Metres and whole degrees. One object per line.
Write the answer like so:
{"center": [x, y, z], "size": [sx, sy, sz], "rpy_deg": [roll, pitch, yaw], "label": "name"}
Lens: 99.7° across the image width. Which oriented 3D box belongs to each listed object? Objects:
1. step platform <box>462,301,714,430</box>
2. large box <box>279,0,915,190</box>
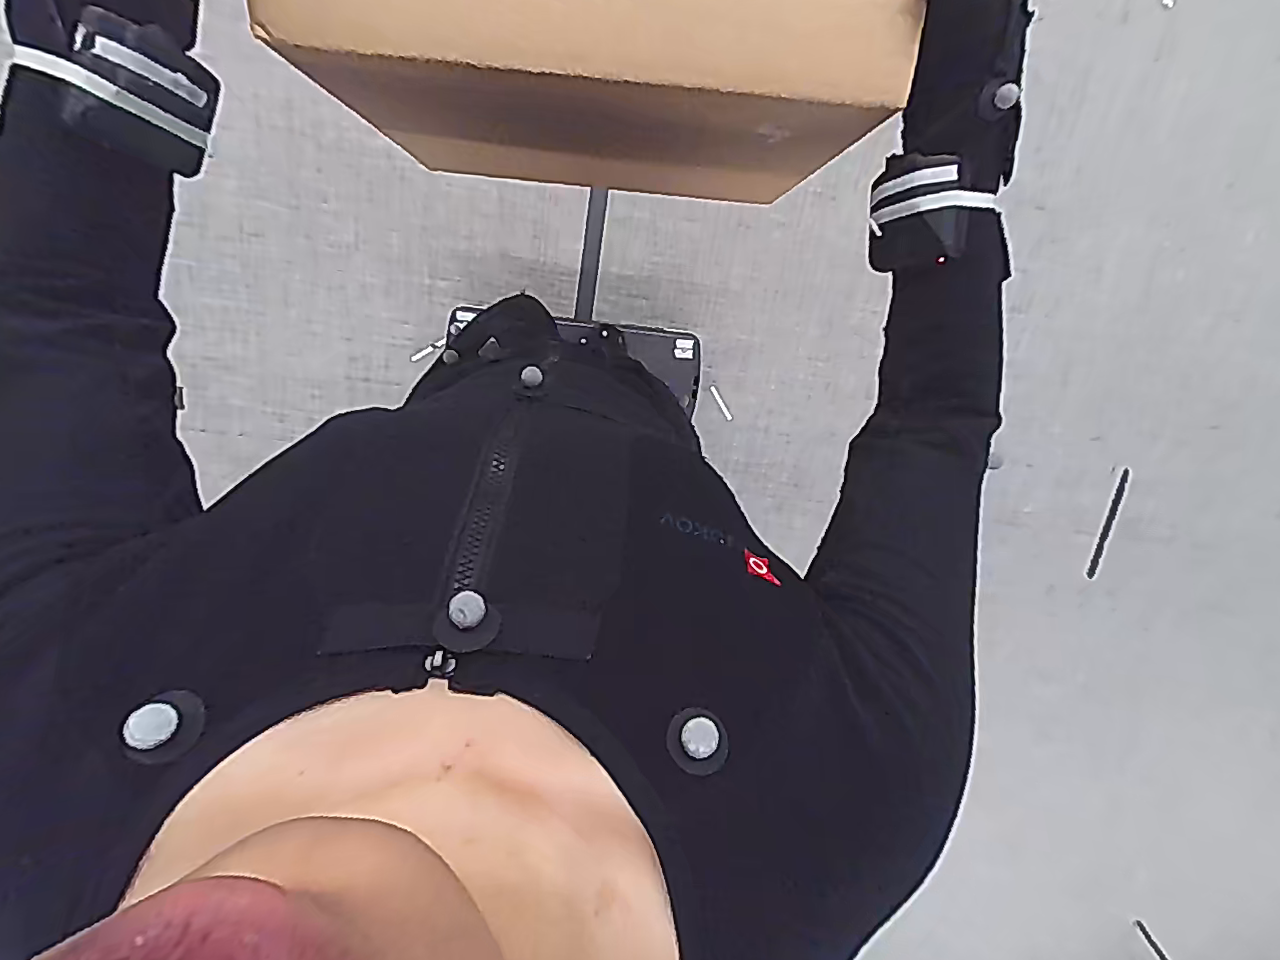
{"center": [-0.140, -0.316, 1.510], "size": [0.684, 0.204, 0.286], "rpy_deg": [5, 105, -6], "label": "step platform"}
{"center": [-0.024, -0.454, 0.446], "size": [0.408, 0.320, 0.320], "rpy_deg": [3, 108, -4], "label": "large box"}
